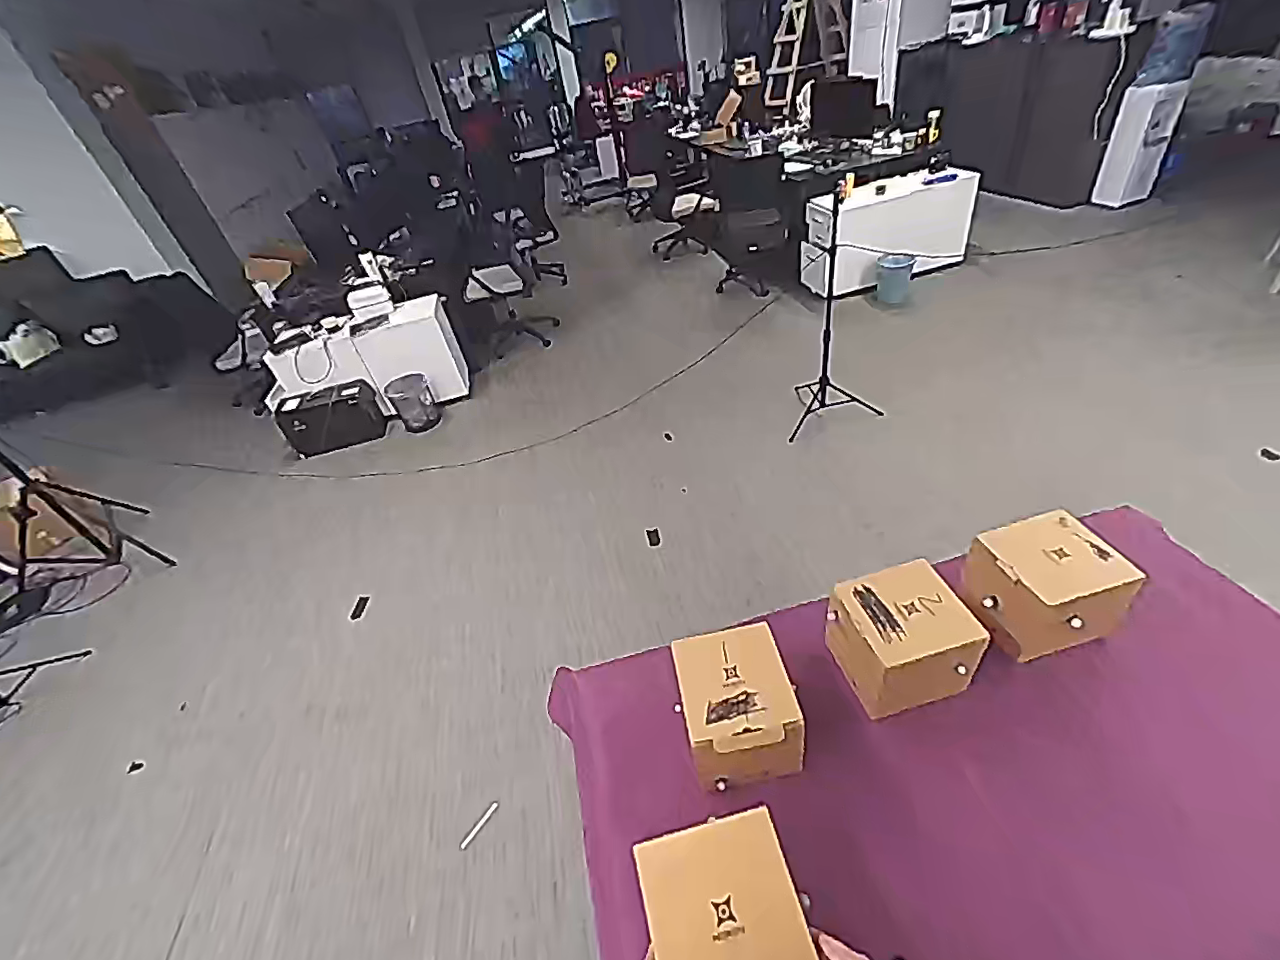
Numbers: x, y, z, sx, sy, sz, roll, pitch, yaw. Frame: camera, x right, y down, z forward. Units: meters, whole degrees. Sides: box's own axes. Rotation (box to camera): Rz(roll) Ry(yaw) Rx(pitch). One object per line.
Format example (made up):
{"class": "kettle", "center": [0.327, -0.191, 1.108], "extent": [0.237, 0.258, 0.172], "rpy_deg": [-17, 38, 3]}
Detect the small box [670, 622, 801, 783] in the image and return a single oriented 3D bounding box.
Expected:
{"class": "small box", "center": [0.152, 0.363, 0.872], "extent": [0.168, 0.176, 0.179], "rpy_deg": [-12, 39, 0]}

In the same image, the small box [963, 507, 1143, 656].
{"class": "small box", "center": [0.698, 0.180, 0.944], "extent": [0.179, 0.176, 0.168], "rpy_deg": [-16, 41, -3]}

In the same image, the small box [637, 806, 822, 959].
{"class": "small box", "center": [0.097, 0.516, 0.632], "extent": [0.168, 0.176, 0.179], "rpy_deg": [-14, 51, -6]}
